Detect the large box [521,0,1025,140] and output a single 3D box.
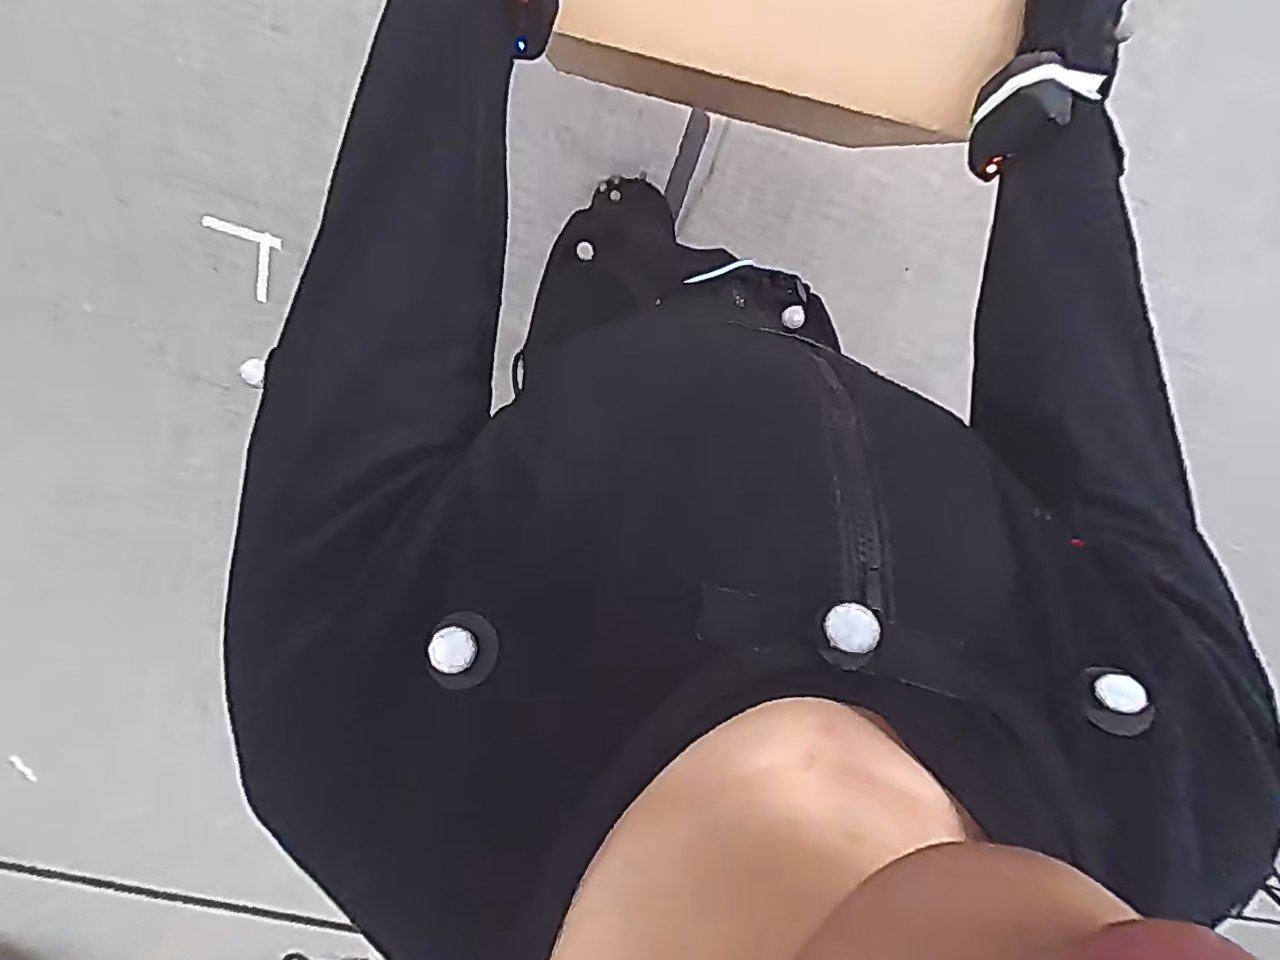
[{"bbox_3d":[0.120,-0.541,0.506,0.408,0.320,0.320,9,121,-7],"label":"large box"}]
